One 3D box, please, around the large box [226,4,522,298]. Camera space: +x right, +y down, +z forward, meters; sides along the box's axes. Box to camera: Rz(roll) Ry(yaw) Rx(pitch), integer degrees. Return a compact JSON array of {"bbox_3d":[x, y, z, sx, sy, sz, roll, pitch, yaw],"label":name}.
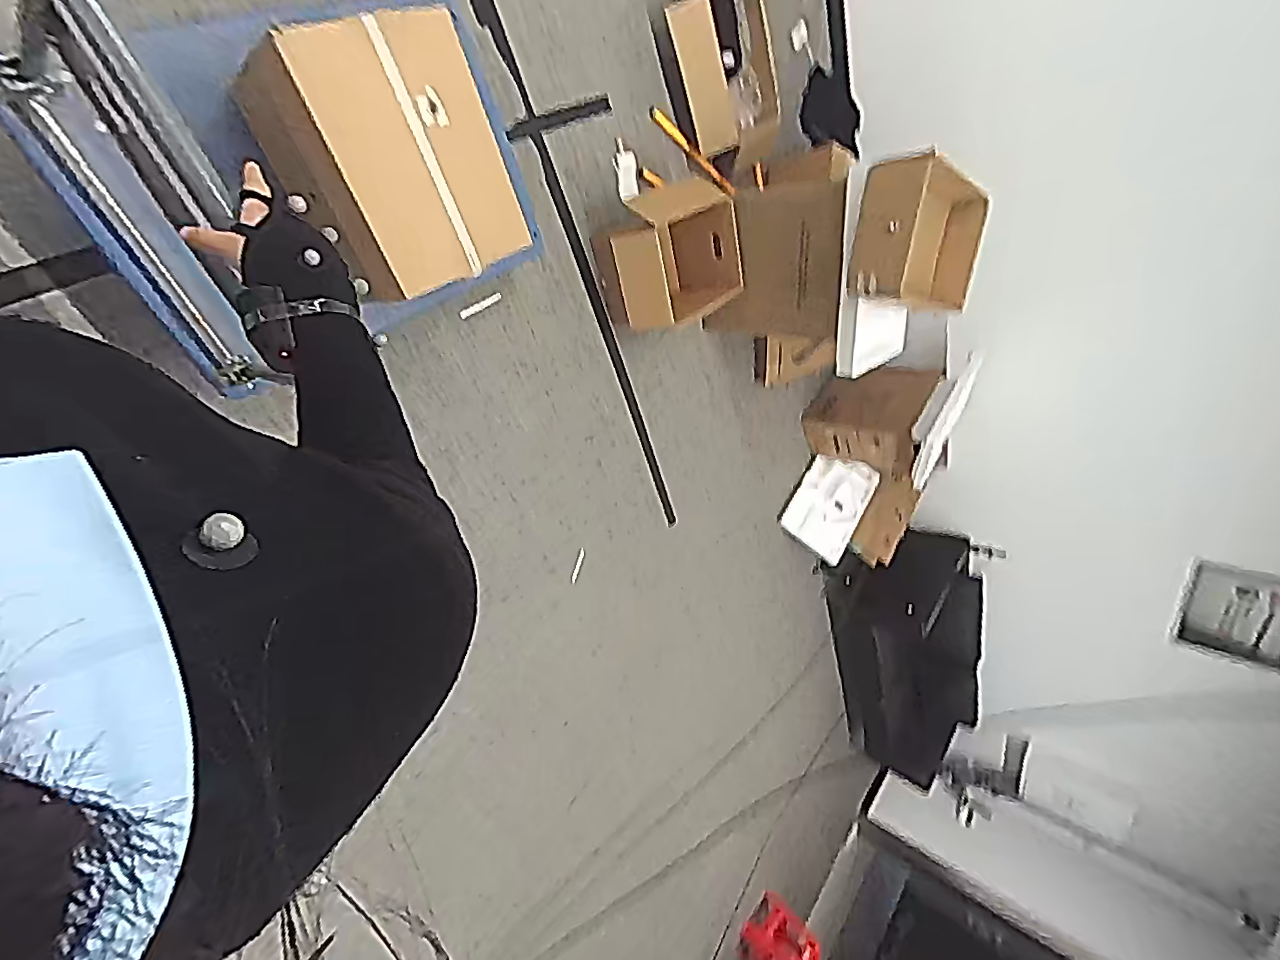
[{"bbox_3d":[-0.507,-0.616,1.071,0.320,0.320,0.408,-41,128,-32],"label":"large box"}]
